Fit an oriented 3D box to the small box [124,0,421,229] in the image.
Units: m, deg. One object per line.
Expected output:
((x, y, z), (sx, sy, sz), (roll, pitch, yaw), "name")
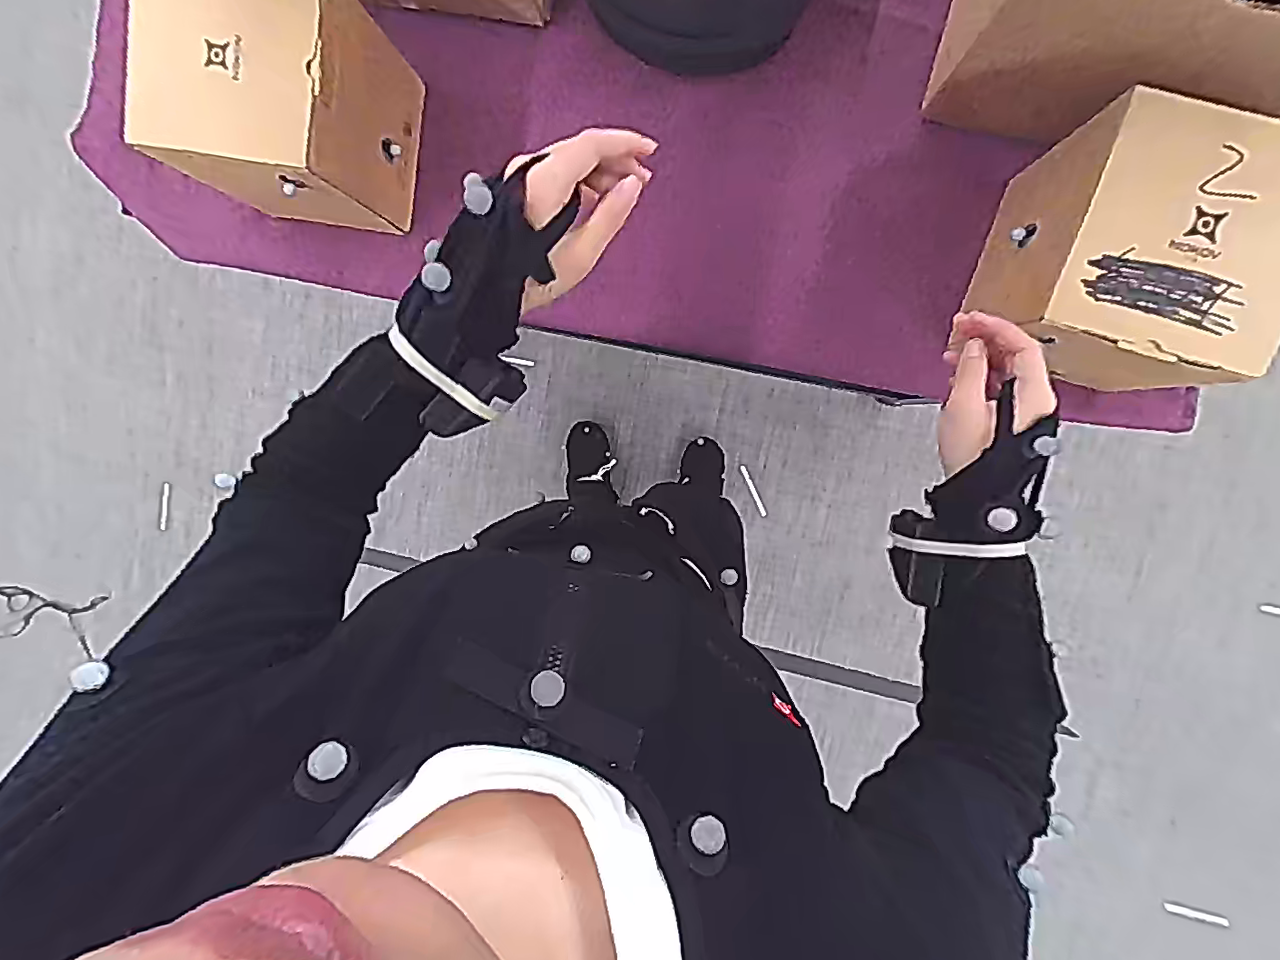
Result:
((-0.349, -0.370, 0.540), (0.179, 0.176, 0.168), (10, 97, 4), "small box")

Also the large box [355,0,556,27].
((-0.224, -0.687, 0.418), (0.320, 0.320, 0.408), (11, 100, 5), "large box")
